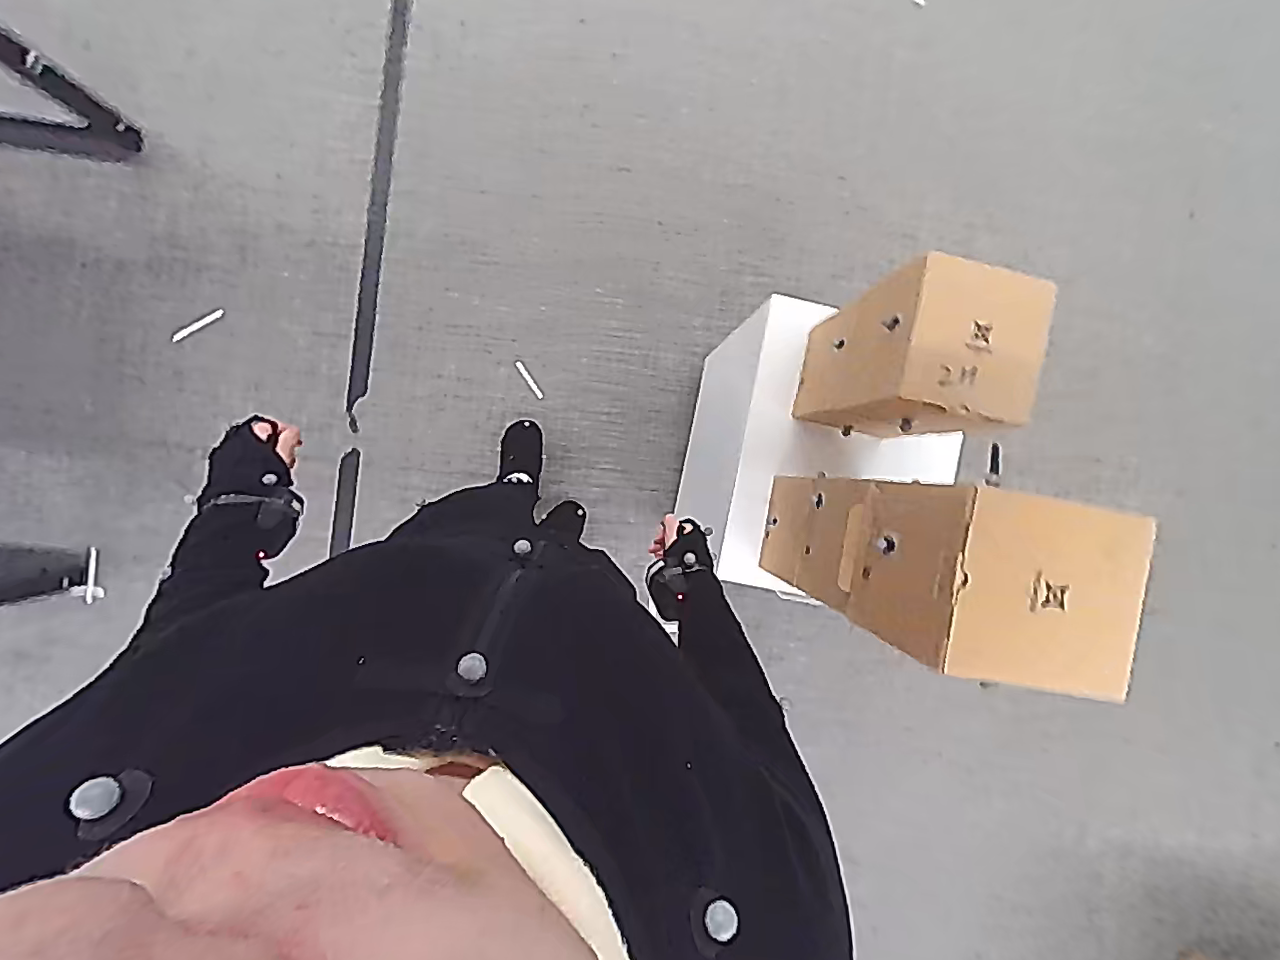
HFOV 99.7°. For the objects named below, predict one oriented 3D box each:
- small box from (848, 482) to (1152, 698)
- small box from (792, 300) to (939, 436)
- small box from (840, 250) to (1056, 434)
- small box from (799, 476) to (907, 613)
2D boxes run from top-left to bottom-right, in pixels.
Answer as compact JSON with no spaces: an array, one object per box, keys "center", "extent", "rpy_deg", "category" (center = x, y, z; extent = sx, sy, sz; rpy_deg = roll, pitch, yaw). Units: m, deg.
[{"center":[0.343,0.096,0.547],"extent":[0.179,0.176,0.168],"rpy_deg":[10,91,-5],"category":"small box"},{"center":[0.373,-0.169,0.870],"extent":[0.179,0.176,0.168],"rpy_deg":[13,90,-7],"category":"small box"},{"center":[0.385,-0.165,0.706],"extent":[0.168,0.176,0.179],"rpy_deg":[12,91,-5],"category":"small box"},{"center":[0.330,0.091,0.709],"extent":[0.179,0.176,0.168],"rpy_deg":[10,90,-6],"category":"small box"}]
